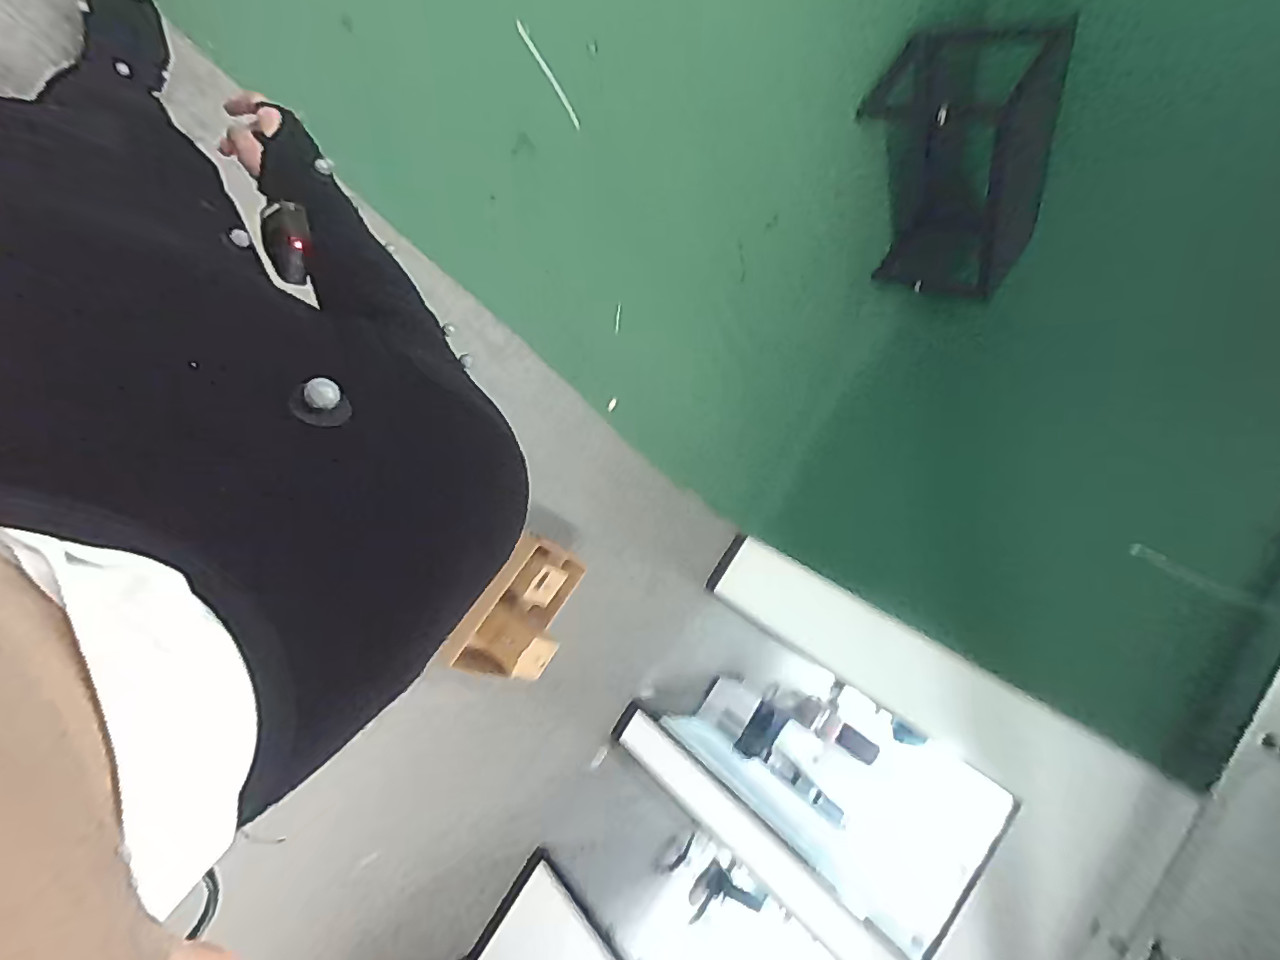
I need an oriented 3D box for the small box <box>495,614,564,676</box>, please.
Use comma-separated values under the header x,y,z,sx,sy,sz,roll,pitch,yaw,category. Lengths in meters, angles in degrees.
x,y,z,sx,sy,sz,roll,pitch,yaw,category
-0.452,0.666,2.193,0.168,0.176,0.179,-55,142,-7,small box
